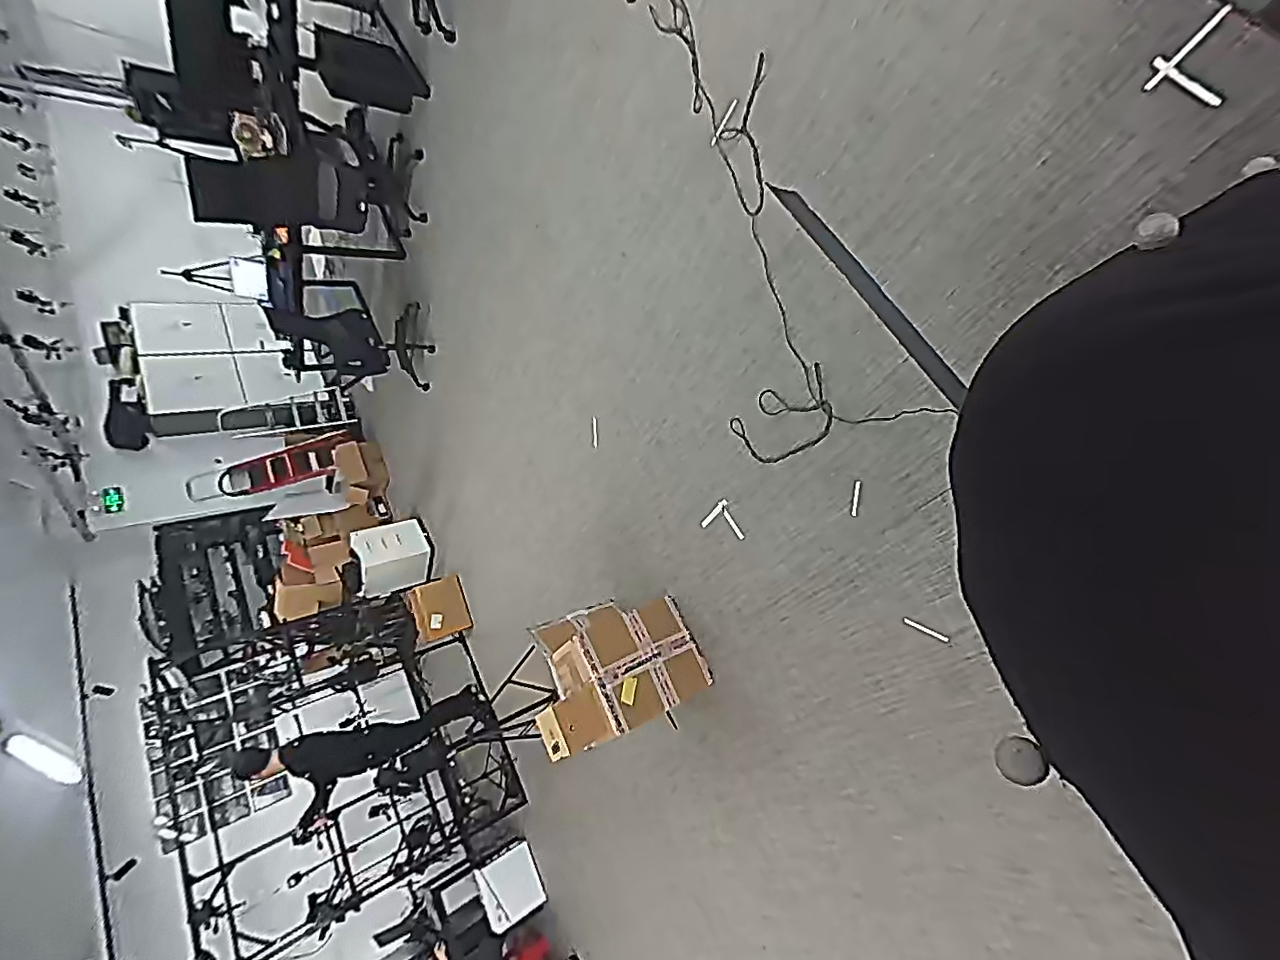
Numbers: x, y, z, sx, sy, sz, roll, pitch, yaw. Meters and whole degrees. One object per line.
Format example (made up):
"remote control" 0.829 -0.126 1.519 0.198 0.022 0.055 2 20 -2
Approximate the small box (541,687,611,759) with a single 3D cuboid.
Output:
"small box" -0.232 0.888 1.983 0.168 0.176 0.179 -47 64 45
